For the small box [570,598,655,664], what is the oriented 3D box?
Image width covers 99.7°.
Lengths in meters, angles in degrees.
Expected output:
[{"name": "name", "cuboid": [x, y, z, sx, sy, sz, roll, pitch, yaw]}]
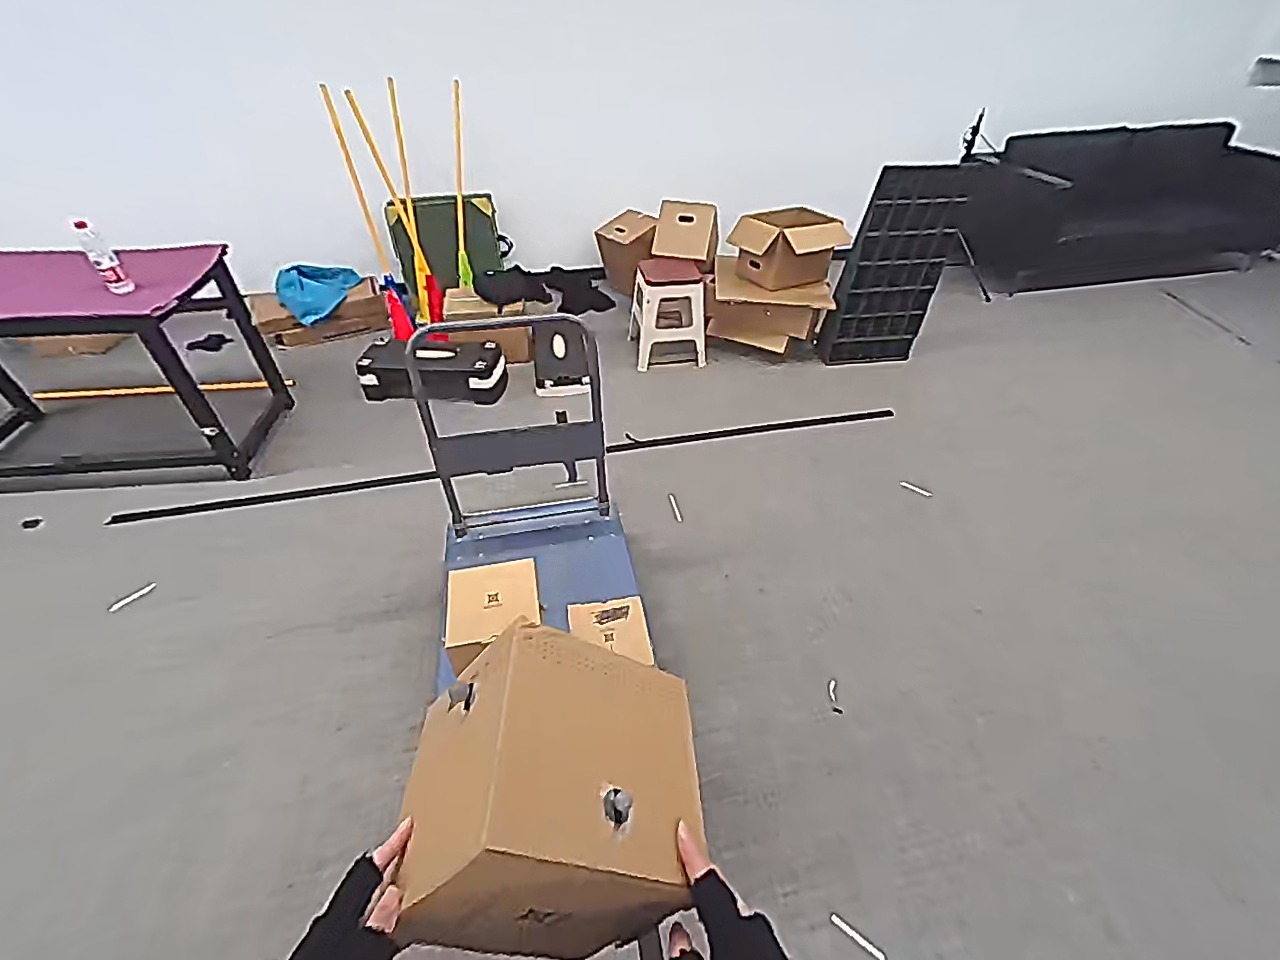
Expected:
[{"name": "small box", "cuboid": [-0.065, 0.389, 1.194, 0.168, 0.176, 0.179, -6, 43, -8]}]

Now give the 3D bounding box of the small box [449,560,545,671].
[{"name": "small box", "cuboid": [-0.271, 0.286, 1.058, 0.168, 0.176, 0.179, -7, 43, -10]}]

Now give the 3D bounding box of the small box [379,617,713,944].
[{"name": "small box", "cuboid": [-0.068, 0.239, 0.436, 0.179, 0.168, 0.176, 31, 29, -24]}]
